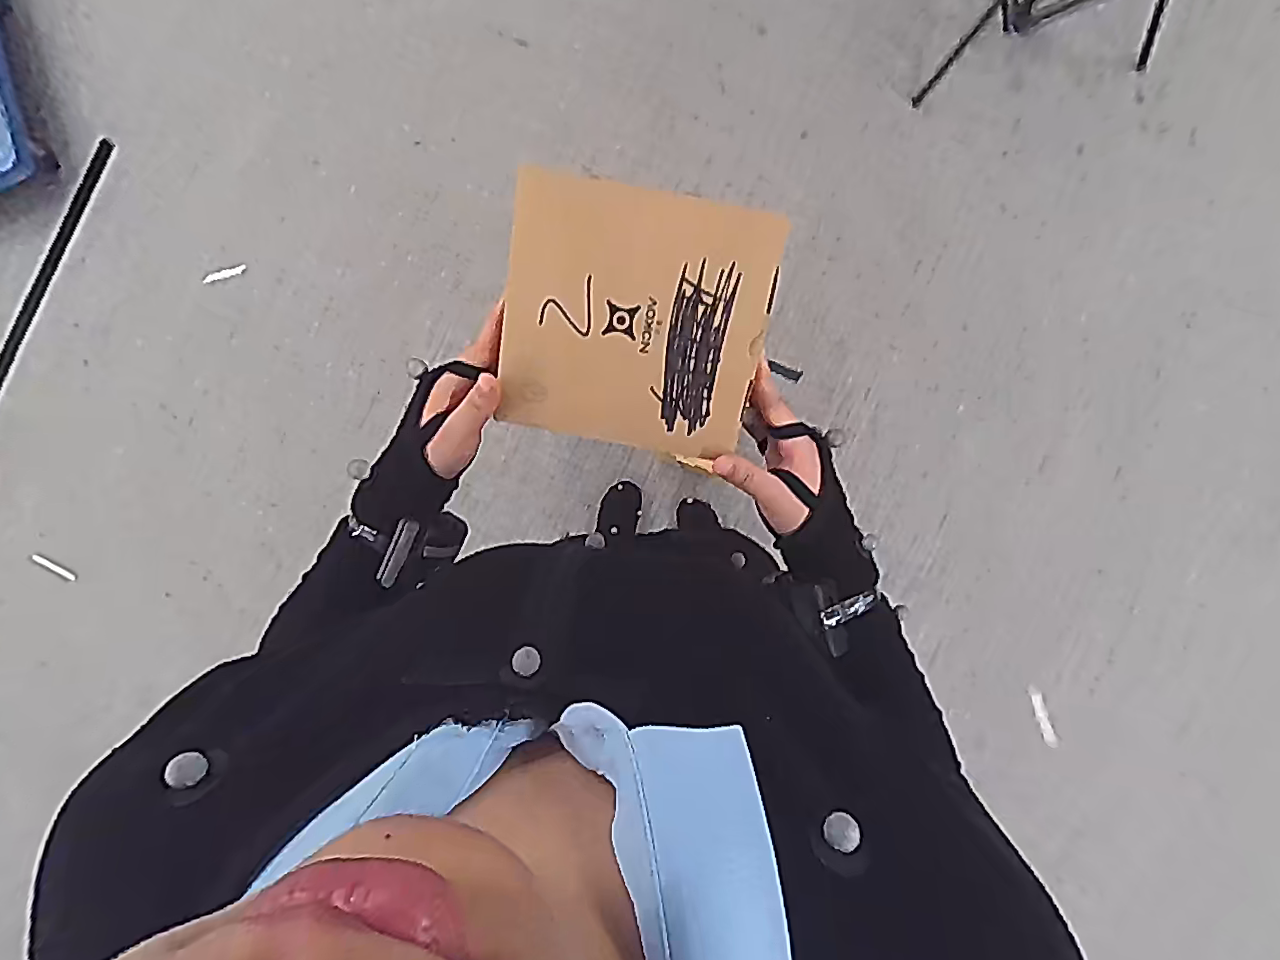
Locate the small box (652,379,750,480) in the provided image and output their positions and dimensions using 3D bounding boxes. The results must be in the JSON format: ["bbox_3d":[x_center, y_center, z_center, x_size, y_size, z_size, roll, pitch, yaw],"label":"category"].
[{"bbox_3d":[0.135,-0.109,1.247,0.168,0.176,0.179,23,91,4],"label":"small box"}]
